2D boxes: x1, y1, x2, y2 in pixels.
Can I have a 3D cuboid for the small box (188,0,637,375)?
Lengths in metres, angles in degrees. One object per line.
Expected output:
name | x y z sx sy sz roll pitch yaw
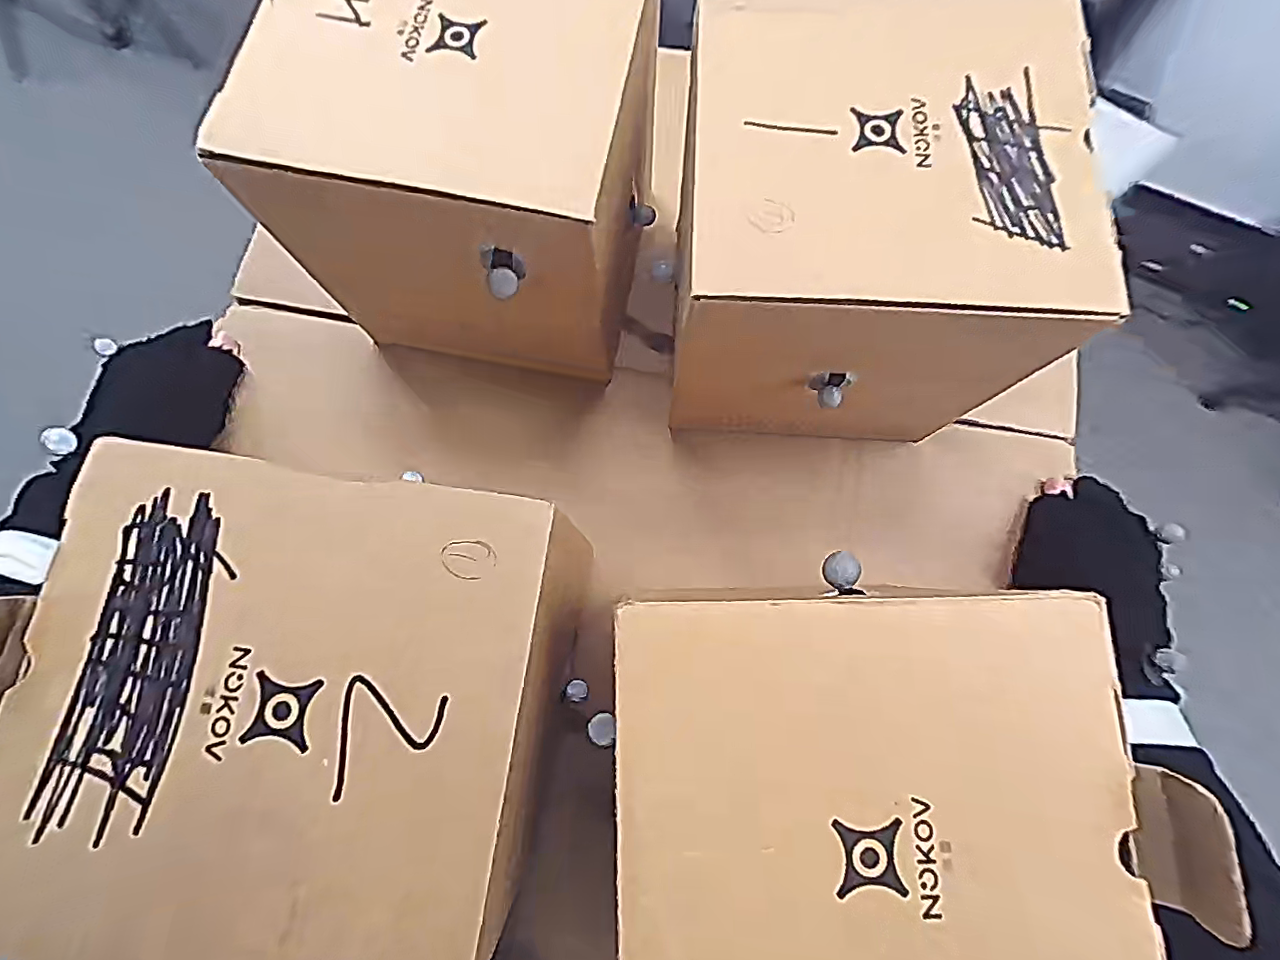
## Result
small box | -0.101 -0.180 0.331 0.179 0.176 0.168 10 76 2
